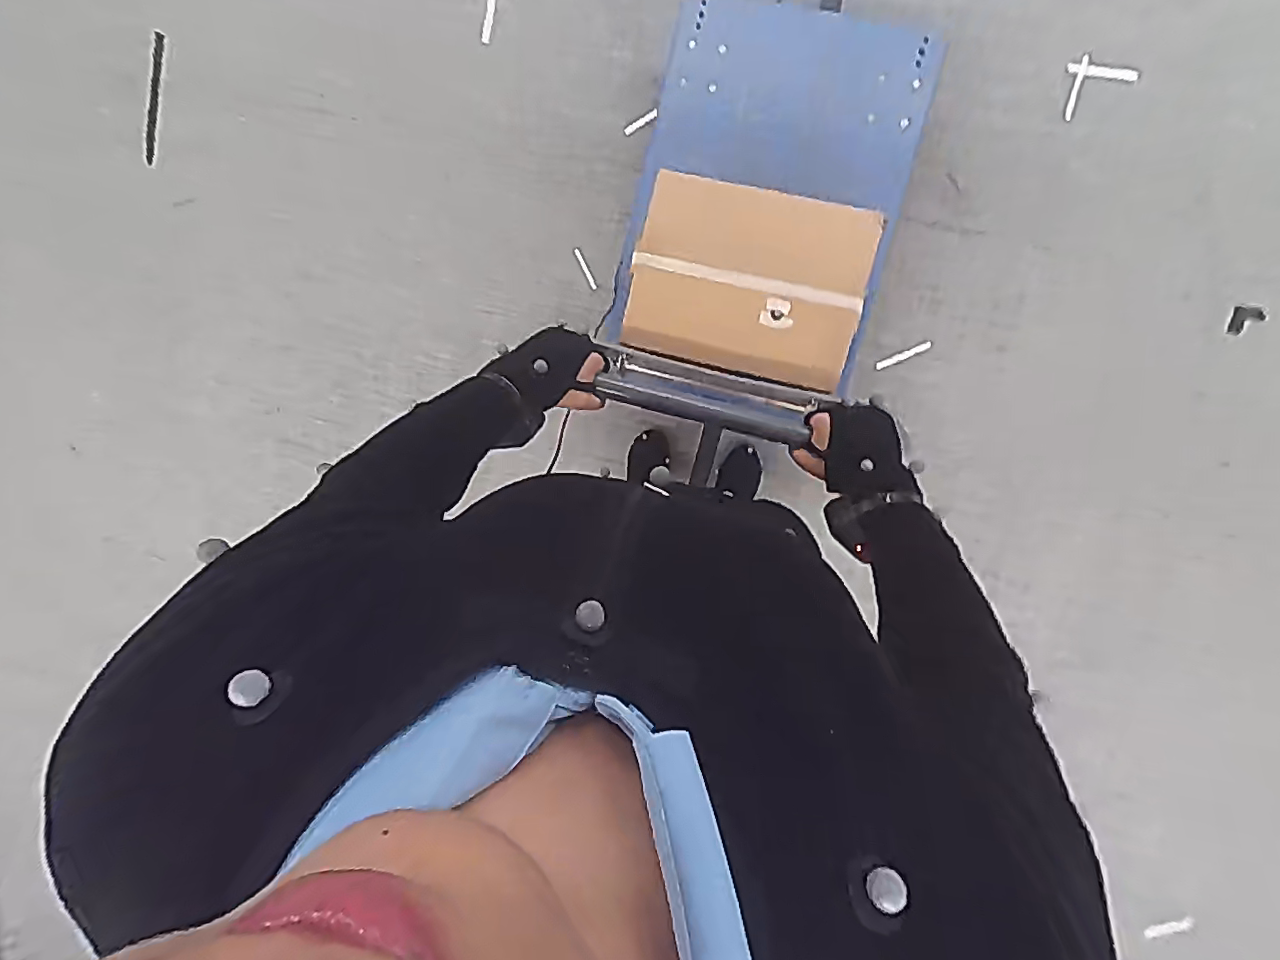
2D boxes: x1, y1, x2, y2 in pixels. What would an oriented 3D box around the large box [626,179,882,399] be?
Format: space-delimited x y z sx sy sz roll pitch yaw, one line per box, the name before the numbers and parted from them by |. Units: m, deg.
large box | 0.213 -0.368 1.121 0.408 0.320 0.320 14 98 6
